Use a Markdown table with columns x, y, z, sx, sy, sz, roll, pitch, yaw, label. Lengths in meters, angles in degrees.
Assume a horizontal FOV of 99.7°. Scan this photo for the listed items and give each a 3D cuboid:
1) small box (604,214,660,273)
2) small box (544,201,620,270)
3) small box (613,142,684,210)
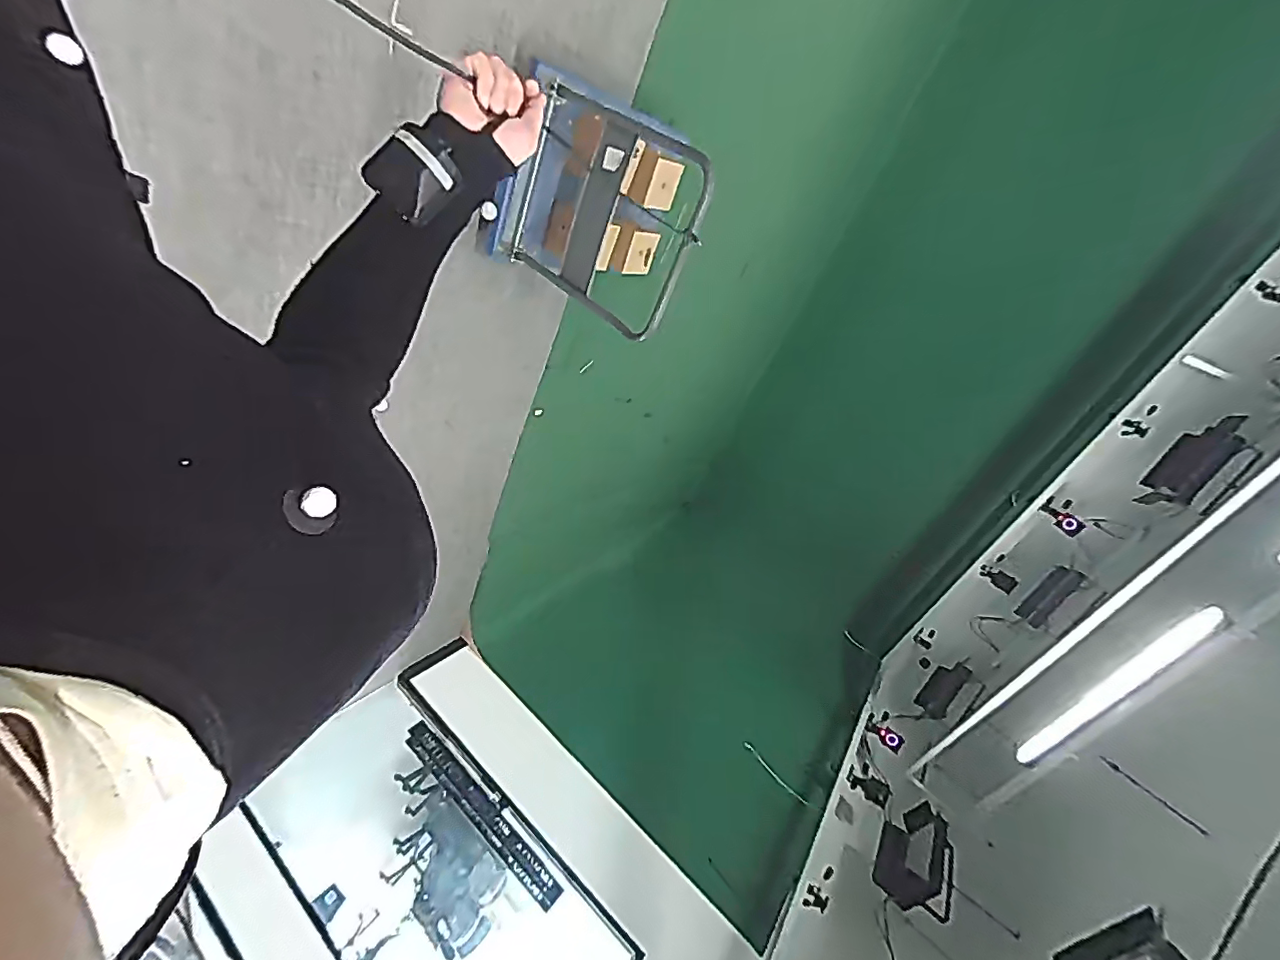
| x | y | z | sx | sy | sz | roll | pitch | yaw | label |
| --- | --- | --- | --- | --- | --- | --- | --- | --- | --- |
| -0.057 | -0.939 | 2.153 | 0.179 | 0.176 | 0.168 | -24 | 145 | -49 | small box |
| -0.210 | -0.877 | 1.939 | 0.179 | 0.176 | 0.168 | -20 | 143 | -53 | small box |
| 0.026 | -1.132 | 2.014 | 0.179 | 0.176 | 0.168 | -26 | 148 | -49 | small box |
